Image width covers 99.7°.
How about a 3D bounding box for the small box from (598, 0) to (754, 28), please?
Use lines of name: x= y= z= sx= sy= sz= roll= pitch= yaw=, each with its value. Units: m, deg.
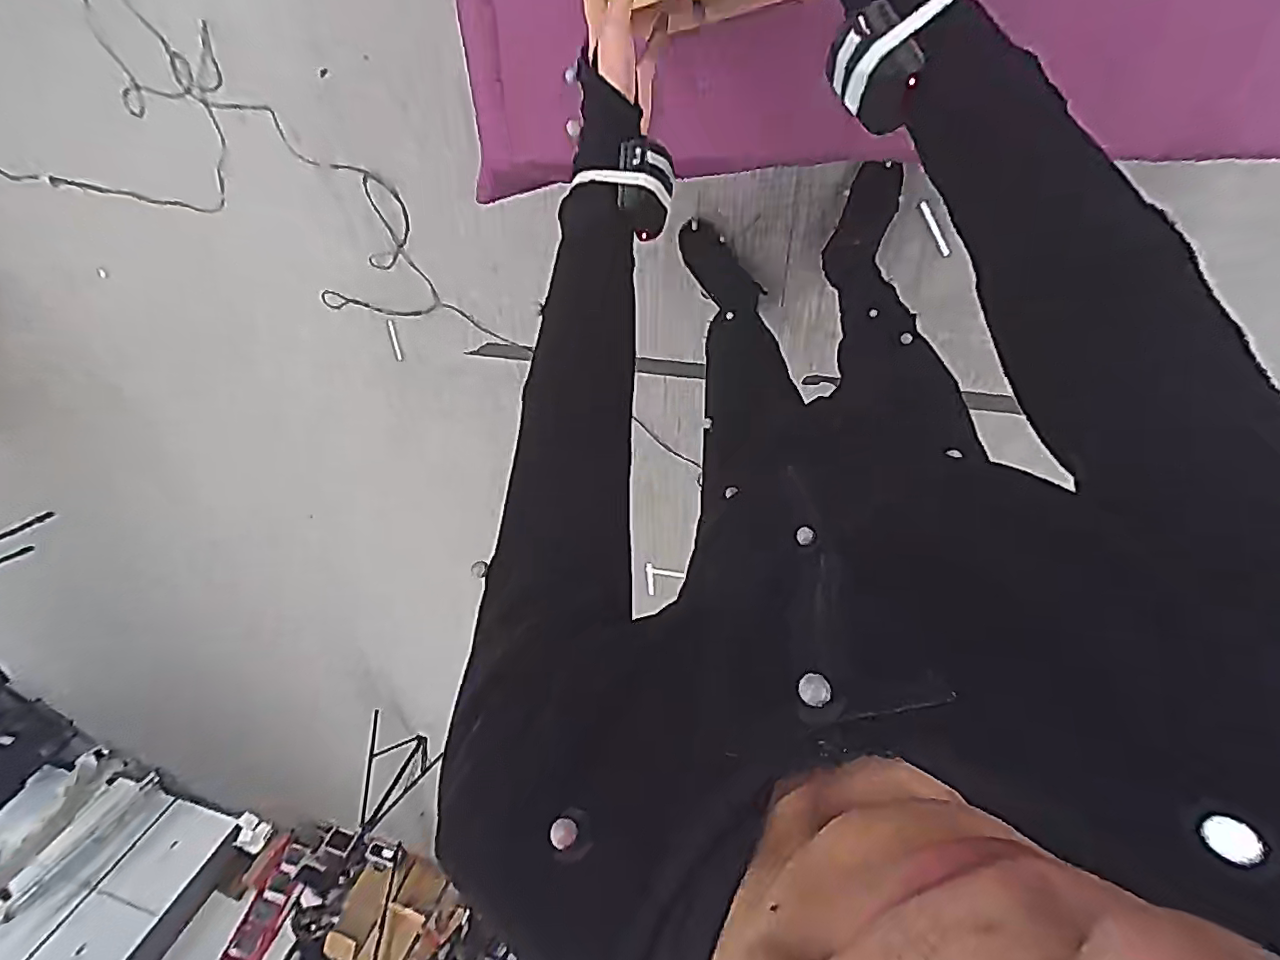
small box: x=0.052 y=-0.521 z=0.465 sx=0.179 sy=0.176 sz=0.168 roll=-2 pitch=122 yaw=17
